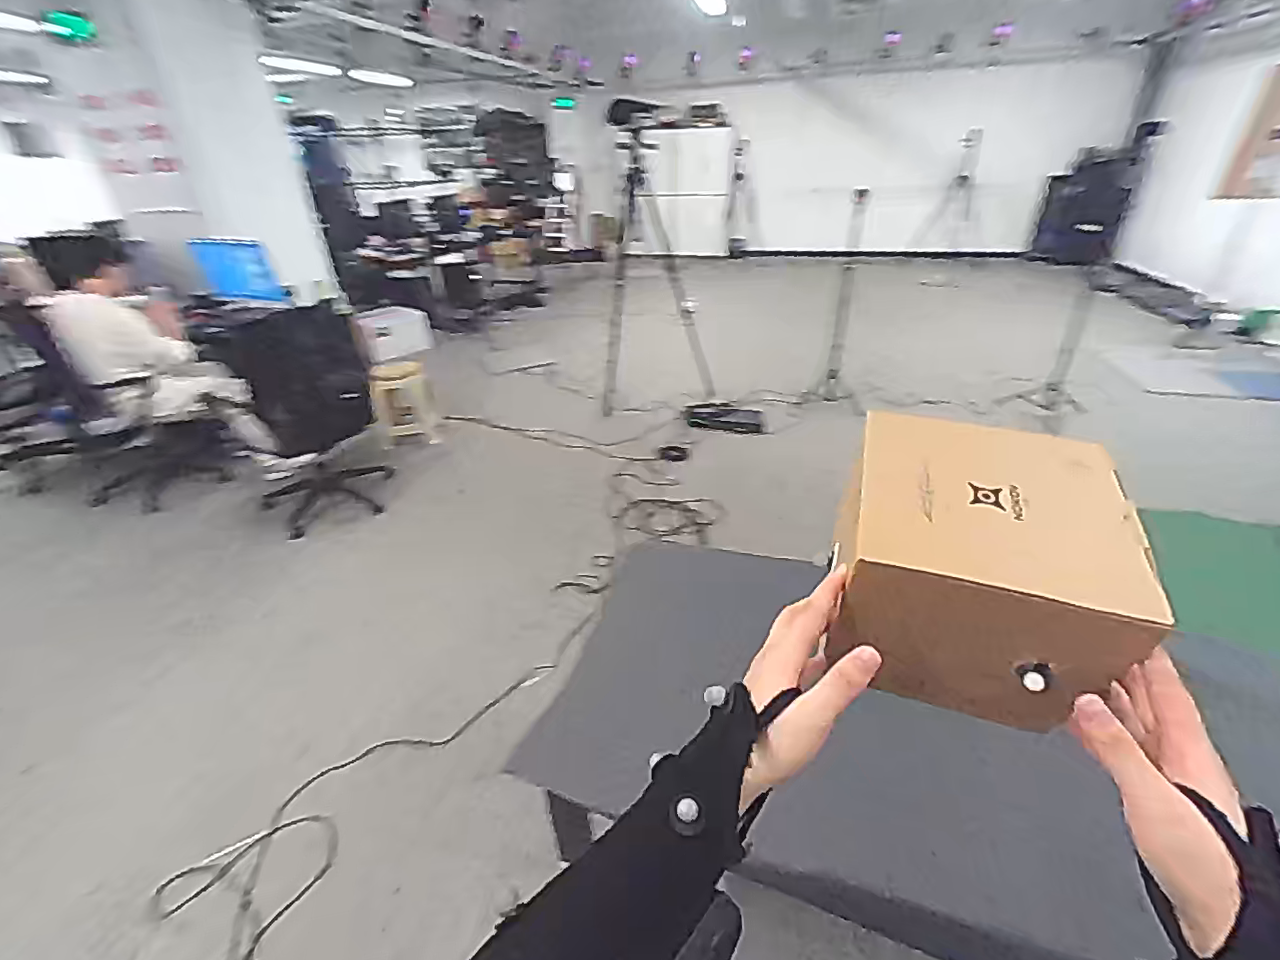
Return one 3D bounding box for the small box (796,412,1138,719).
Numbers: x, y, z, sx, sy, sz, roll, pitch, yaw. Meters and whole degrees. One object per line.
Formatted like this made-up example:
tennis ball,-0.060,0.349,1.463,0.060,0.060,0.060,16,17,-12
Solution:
small box,0.233,0.069,0.439,0.179,0.176,0.168,9,45,16
